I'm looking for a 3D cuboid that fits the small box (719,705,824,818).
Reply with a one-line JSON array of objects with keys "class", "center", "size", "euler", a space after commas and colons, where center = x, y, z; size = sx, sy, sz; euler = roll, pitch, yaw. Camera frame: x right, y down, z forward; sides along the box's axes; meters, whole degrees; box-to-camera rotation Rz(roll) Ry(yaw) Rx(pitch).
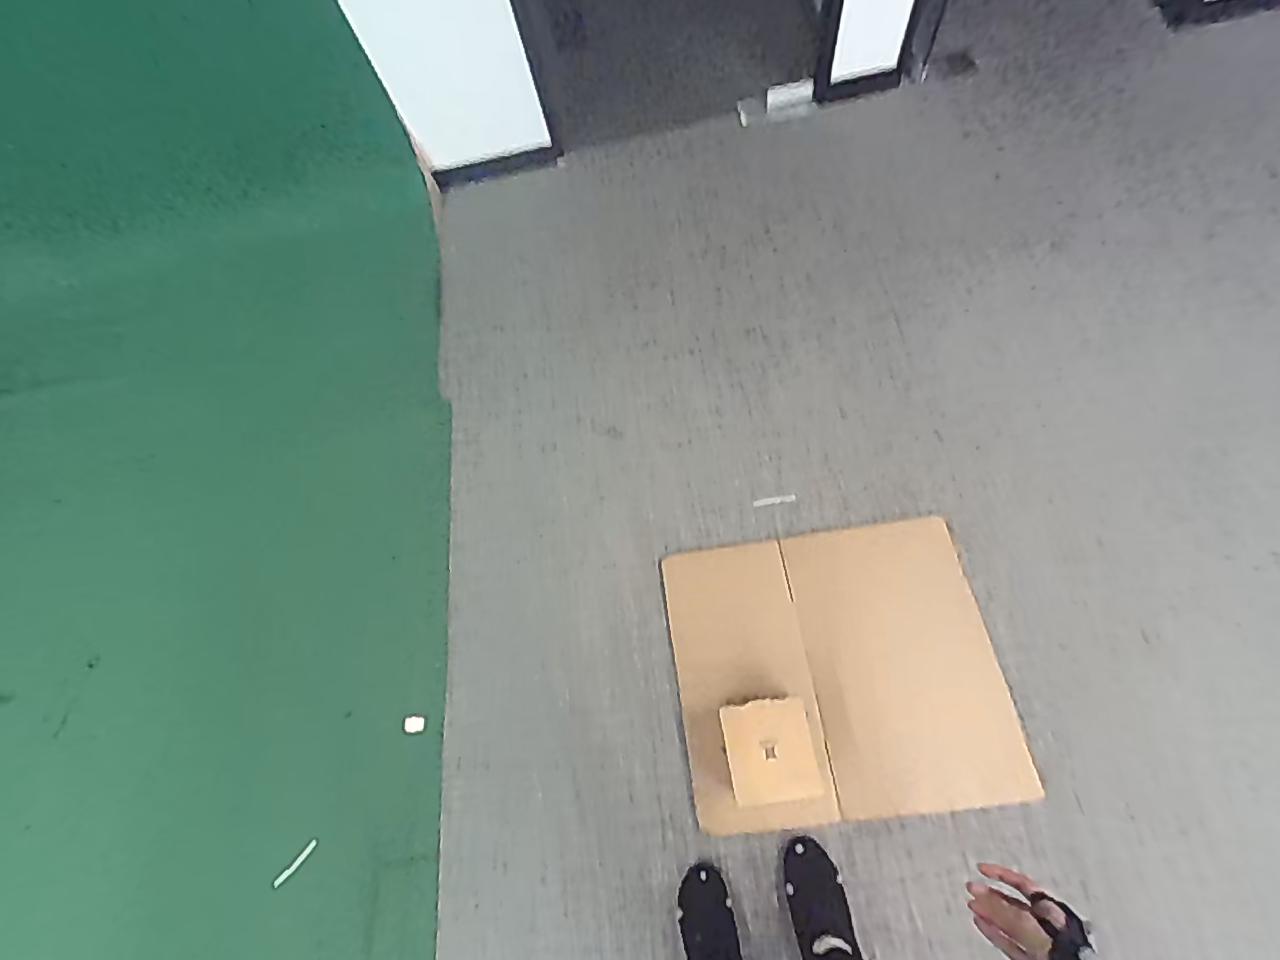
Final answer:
[{"class": "small box", "center": [0.257, 0.560, 1.094], "size": [0.168, 0.176, 0.179], "euler": [-11, 65, 3]}]
